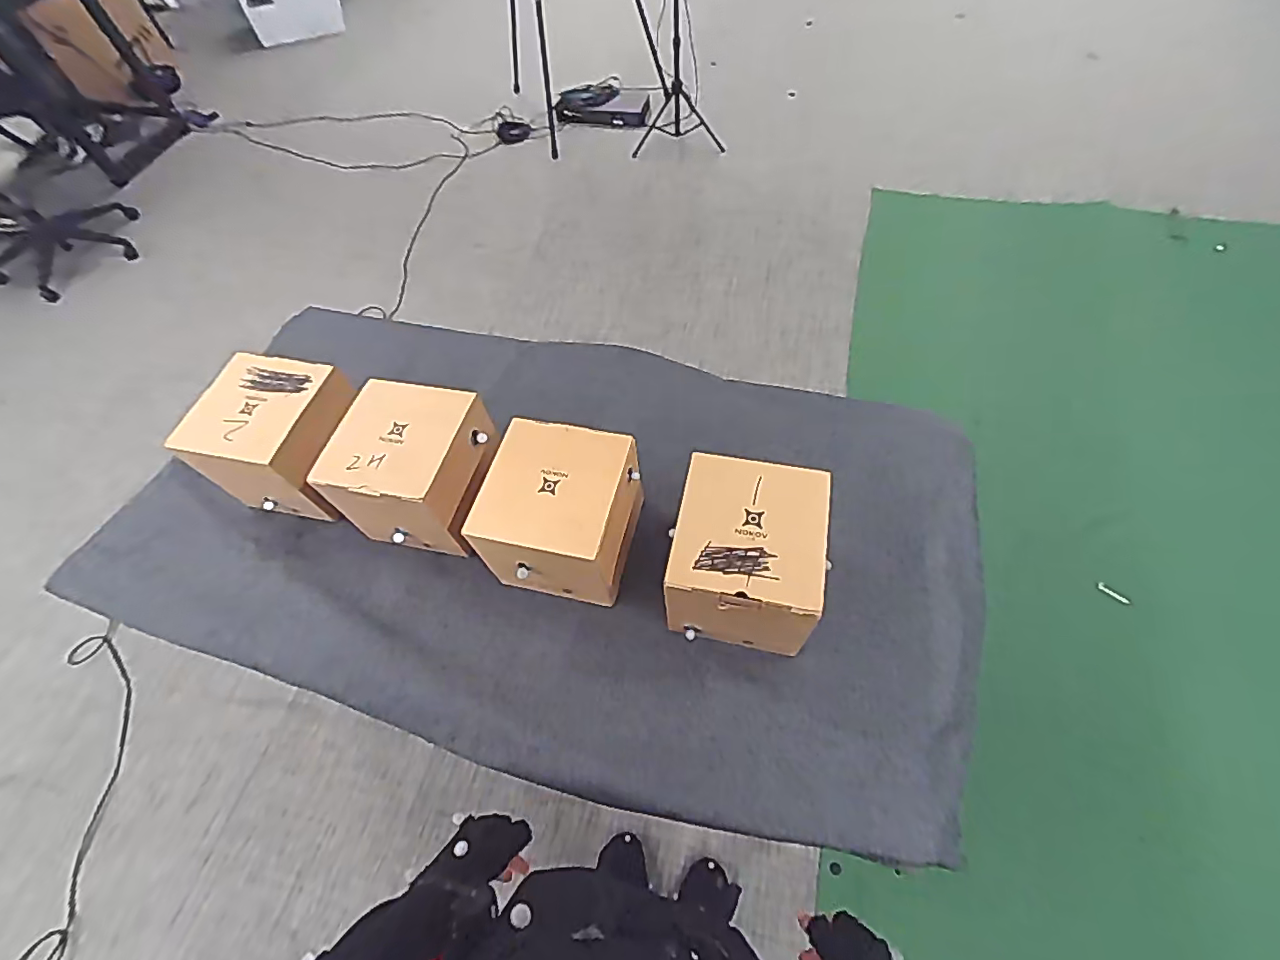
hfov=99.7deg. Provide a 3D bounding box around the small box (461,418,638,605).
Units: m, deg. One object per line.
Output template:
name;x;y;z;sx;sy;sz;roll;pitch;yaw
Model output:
small box;-0.102;0.046;0.712;0.168;0.176;0.179;10;59;11

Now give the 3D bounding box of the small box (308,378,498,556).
small box;-0.311;-0.015;0.765;0.168;0.176;0.179;9;59;10
